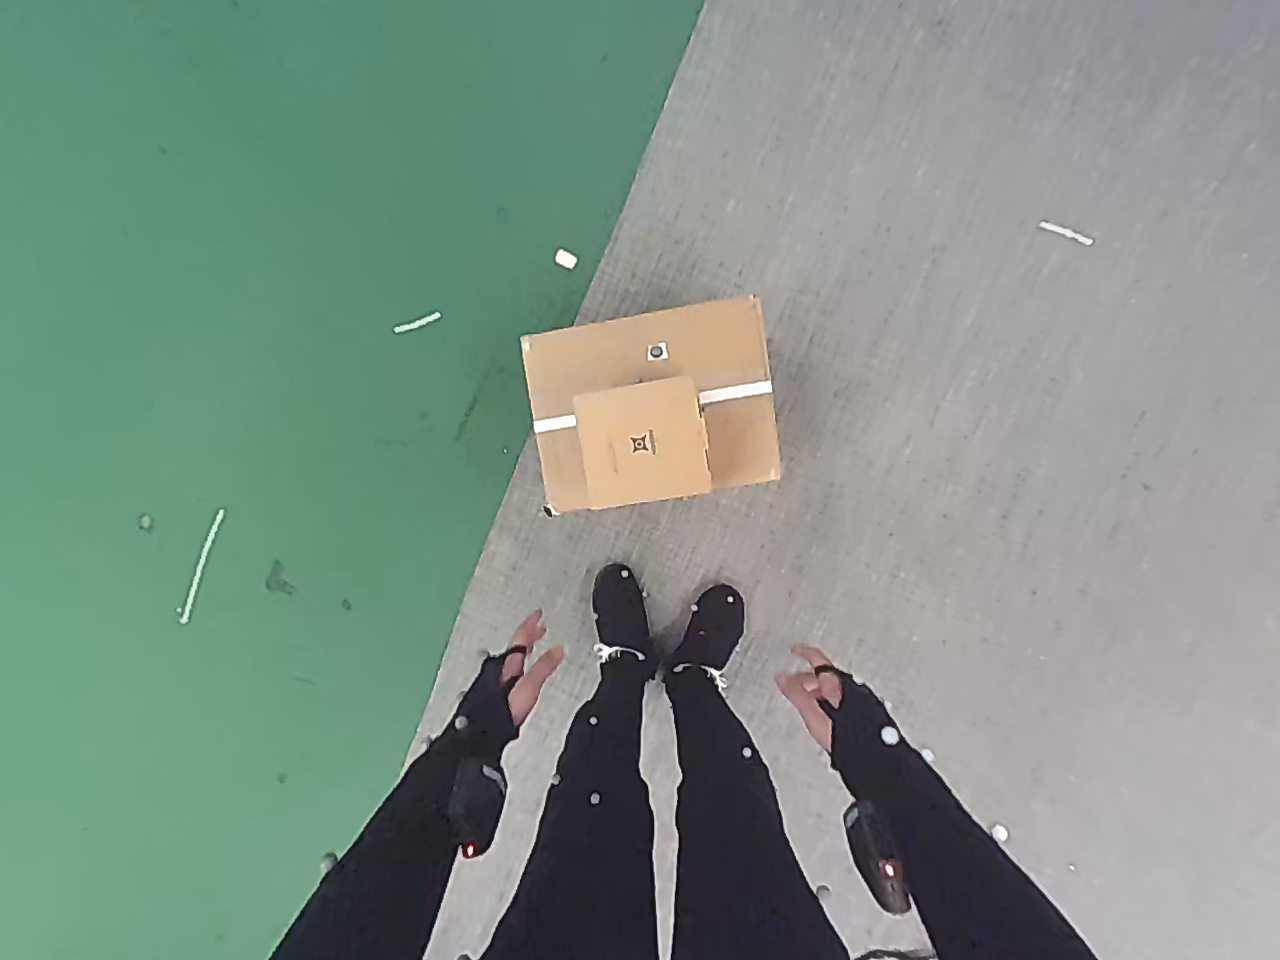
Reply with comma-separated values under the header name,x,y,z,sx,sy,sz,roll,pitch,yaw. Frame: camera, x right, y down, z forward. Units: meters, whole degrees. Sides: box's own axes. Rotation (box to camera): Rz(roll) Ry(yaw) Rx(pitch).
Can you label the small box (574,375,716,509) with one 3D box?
name,x,y,z,sx,sy,sz,roll,pitch,yaw
small box,0.013,-0.058,0.815,0.179,0.176,0.168,-8,94,6
